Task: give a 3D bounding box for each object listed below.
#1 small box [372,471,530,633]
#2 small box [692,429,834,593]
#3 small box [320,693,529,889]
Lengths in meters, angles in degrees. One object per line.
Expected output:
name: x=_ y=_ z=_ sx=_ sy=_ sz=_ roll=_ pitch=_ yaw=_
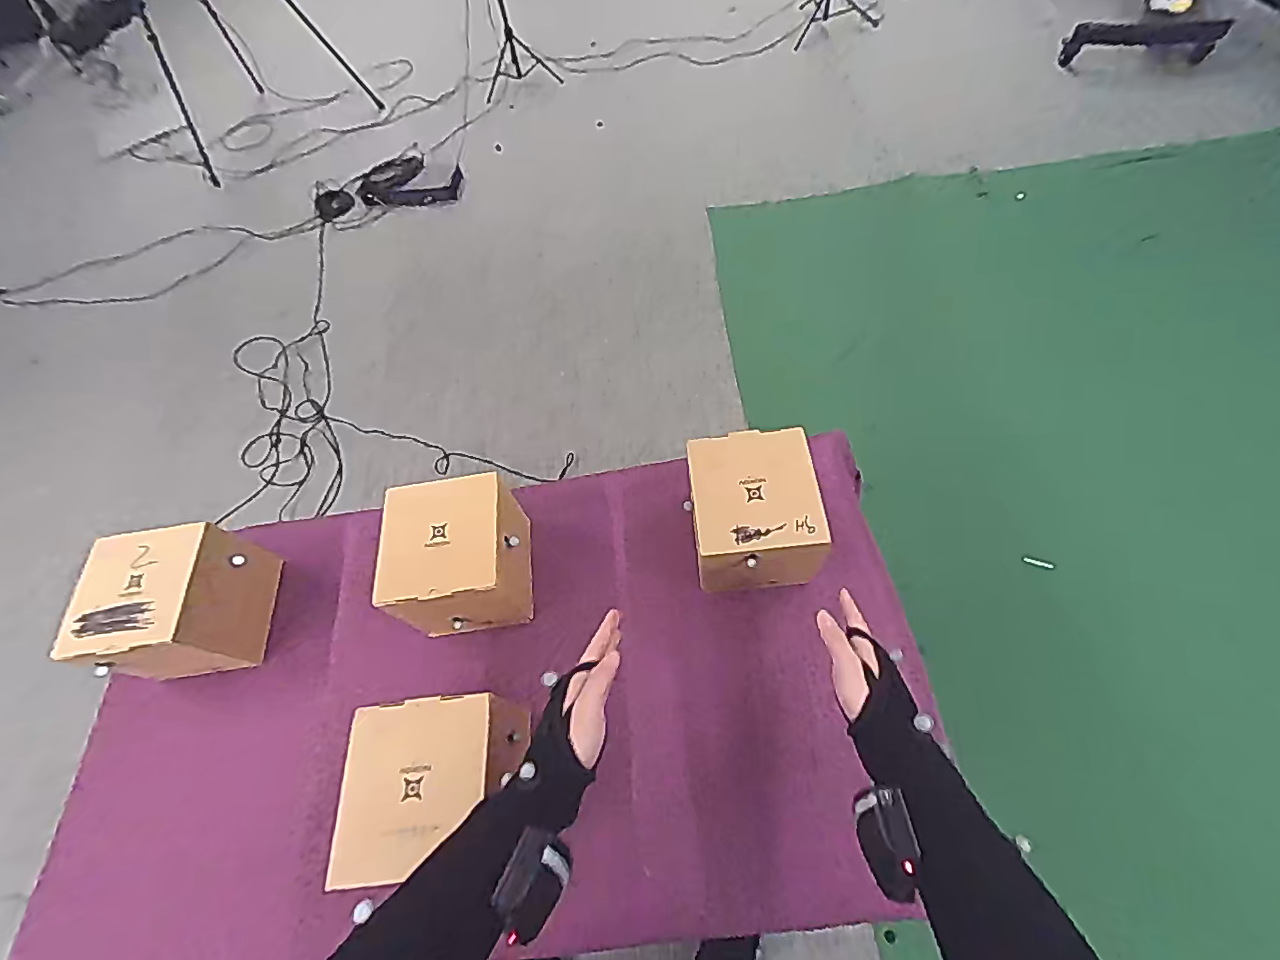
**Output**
small box: x=-0.263 y=0.111 z=0.794 sx=0.168 sy=0.176 sz=0.179 roll=-8 pitch=61 yaw=1
small box: x=0.163 y=0.050 z=0.778 sx=0.168 sy=0.176 sz=0.179 roll=-6 pitch=61 yaw=4
small box: x=-0.236 y=0.366 z=0.645 sx=0.168 sy=0.176 sz=0.179 roll=-7 pitch=60 yaw=3
